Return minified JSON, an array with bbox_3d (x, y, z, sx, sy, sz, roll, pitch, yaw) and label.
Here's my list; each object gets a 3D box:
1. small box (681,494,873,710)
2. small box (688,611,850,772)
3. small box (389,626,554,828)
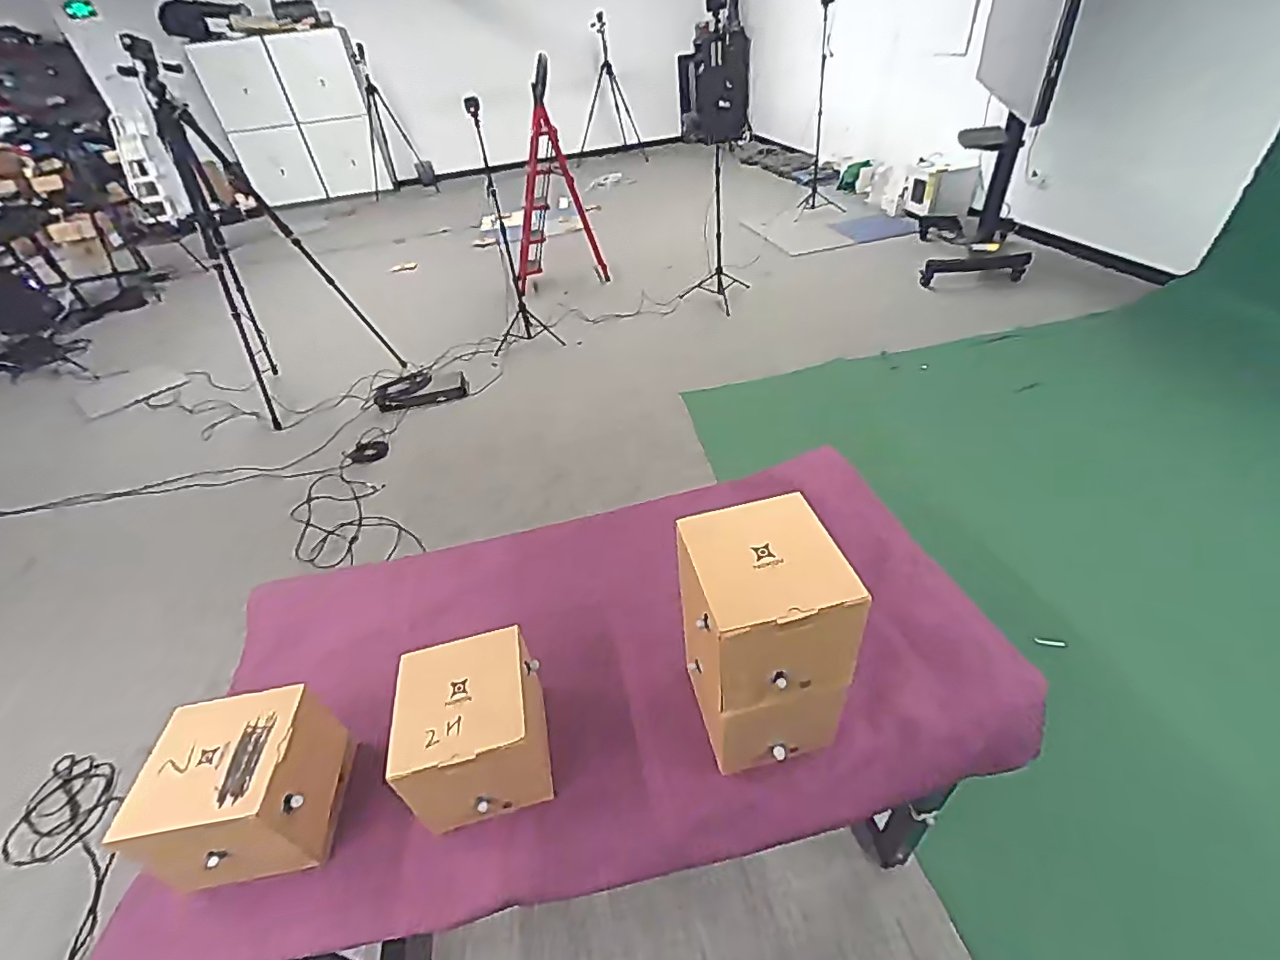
[{"bbox_3d":[0.152,0.147,0.665,0.168,0.176,0.179,-13,40,-6],"label":"small box"},{"bbox_3d":[0.168,0.275,0.764,0.168,0.176,0.179,-12,40,-5],"label":"small box"},{"bbox_3d":[-0.222,0.338,0.747,0.168,0.176,0.179,-13,39,-7],"label":"small box"}]
